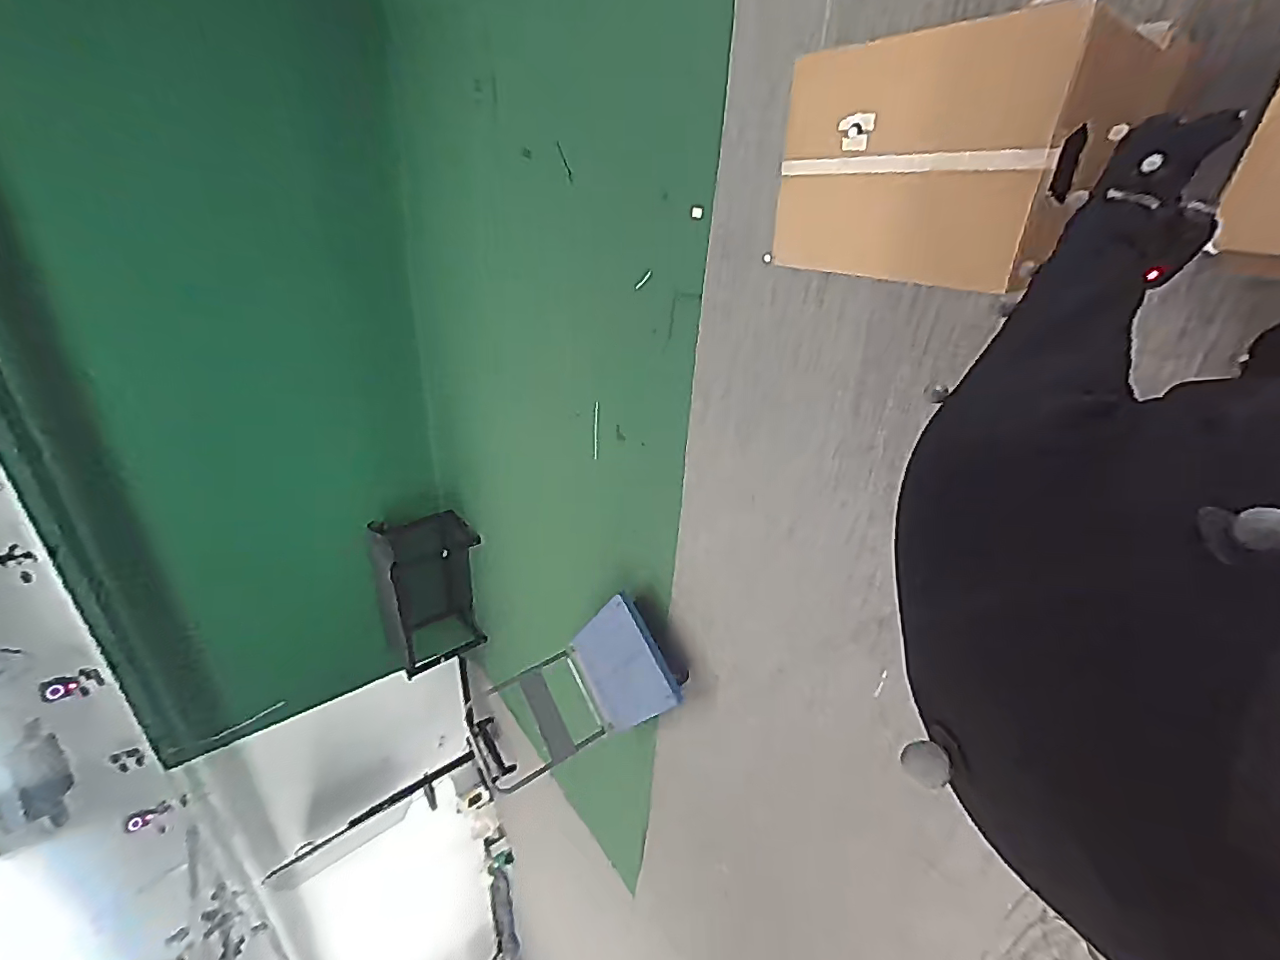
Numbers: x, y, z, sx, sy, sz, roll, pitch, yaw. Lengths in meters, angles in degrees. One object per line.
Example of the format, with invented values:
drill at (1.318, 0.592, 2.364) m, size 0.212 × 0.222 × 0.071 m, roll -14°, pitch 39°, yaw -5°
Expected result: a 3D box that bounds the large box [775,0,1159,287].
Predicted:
large box at (0.488, -0.511, 0.876) m, size 0.408 × 0.320 × 0.320 m, roll 32°, pitch 131°, yaw 44°
